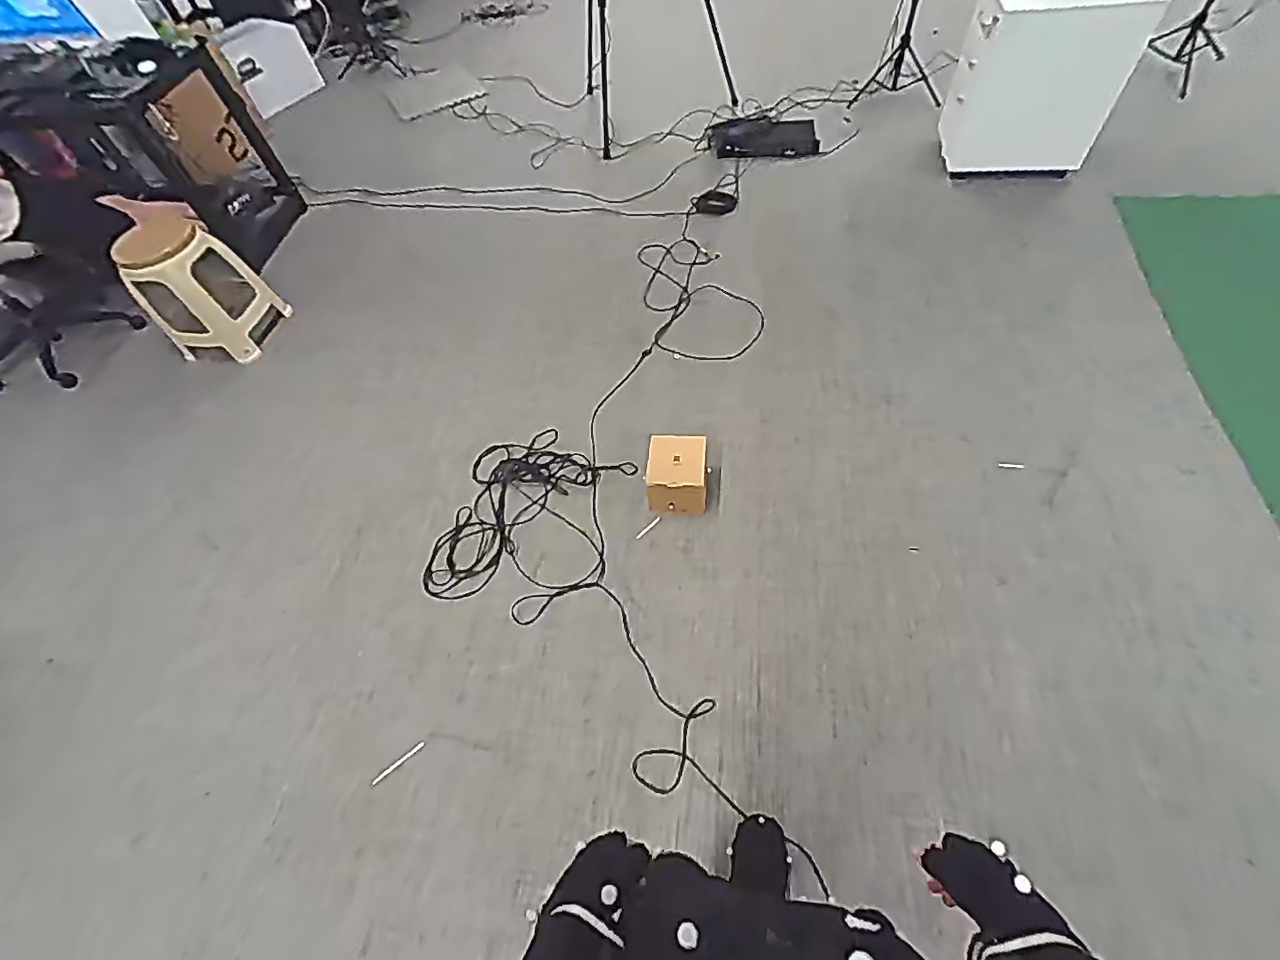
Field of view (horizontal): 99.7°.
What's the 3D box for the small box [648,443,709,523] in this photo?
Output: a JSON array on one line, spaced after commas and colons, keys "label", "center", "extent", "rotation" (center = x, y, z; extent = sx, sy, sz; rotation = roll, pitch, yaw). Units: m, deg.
[{"label": "small box", "center": [0.122, 0.009, 1.625], "extent": [0.168, 0.176, 0.179], "rotation": [2, 58, 9]}]
